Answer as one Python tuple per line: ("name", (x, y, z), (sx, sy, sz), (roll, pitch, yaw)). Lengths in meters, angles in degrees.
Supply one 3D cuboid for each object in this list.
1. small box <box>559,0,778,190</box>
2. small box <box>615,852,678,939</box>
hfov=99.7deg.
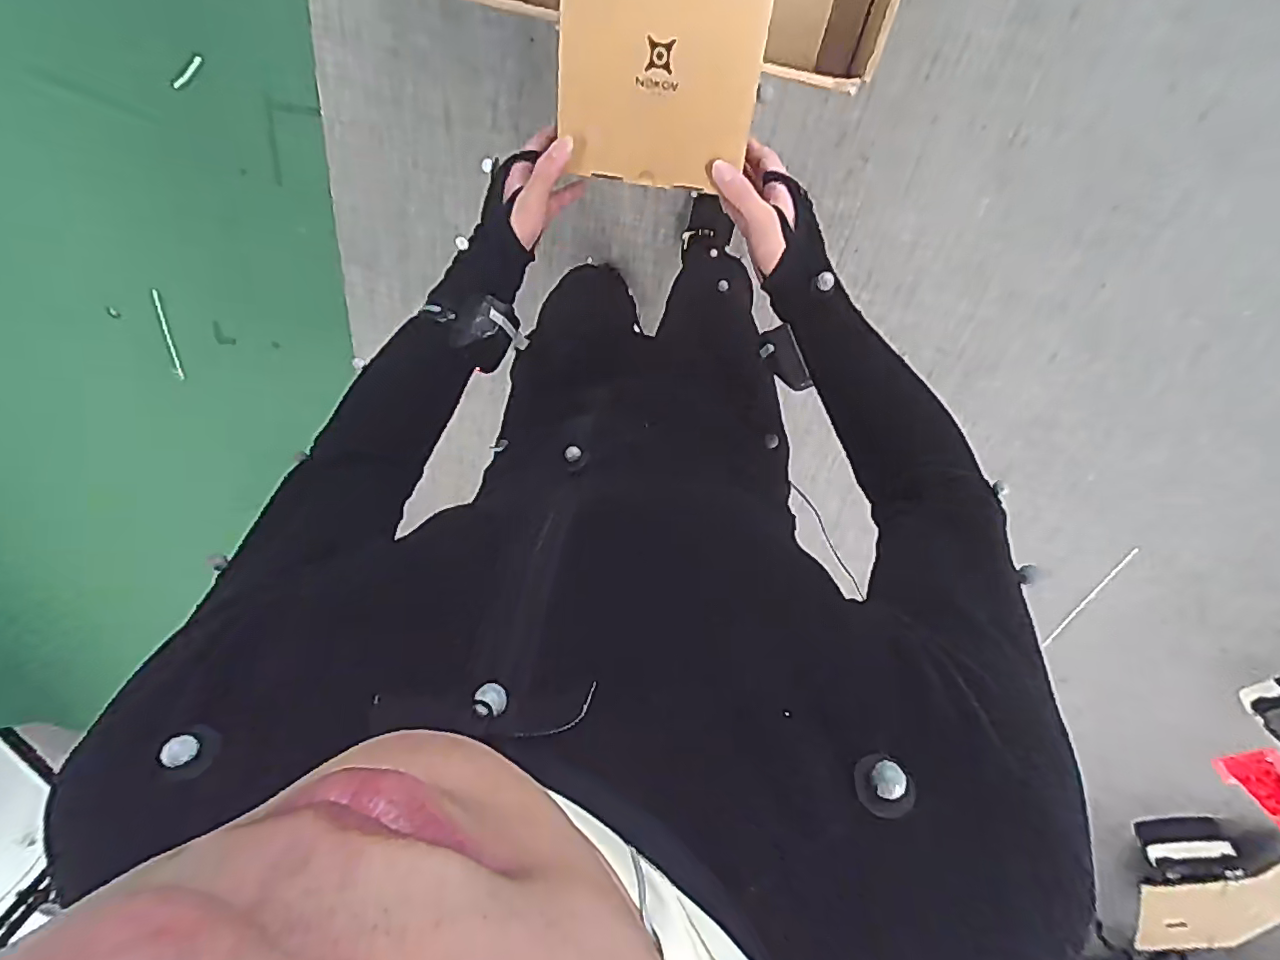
("small box", (0.026, -0.384, 0.498), (0.168, 0.176, 0.179), (8, 125, 2))
("small box", (0.028, 1.325, 1.729), (0.179, 0.176, 0.168), (1, 123, 10))
